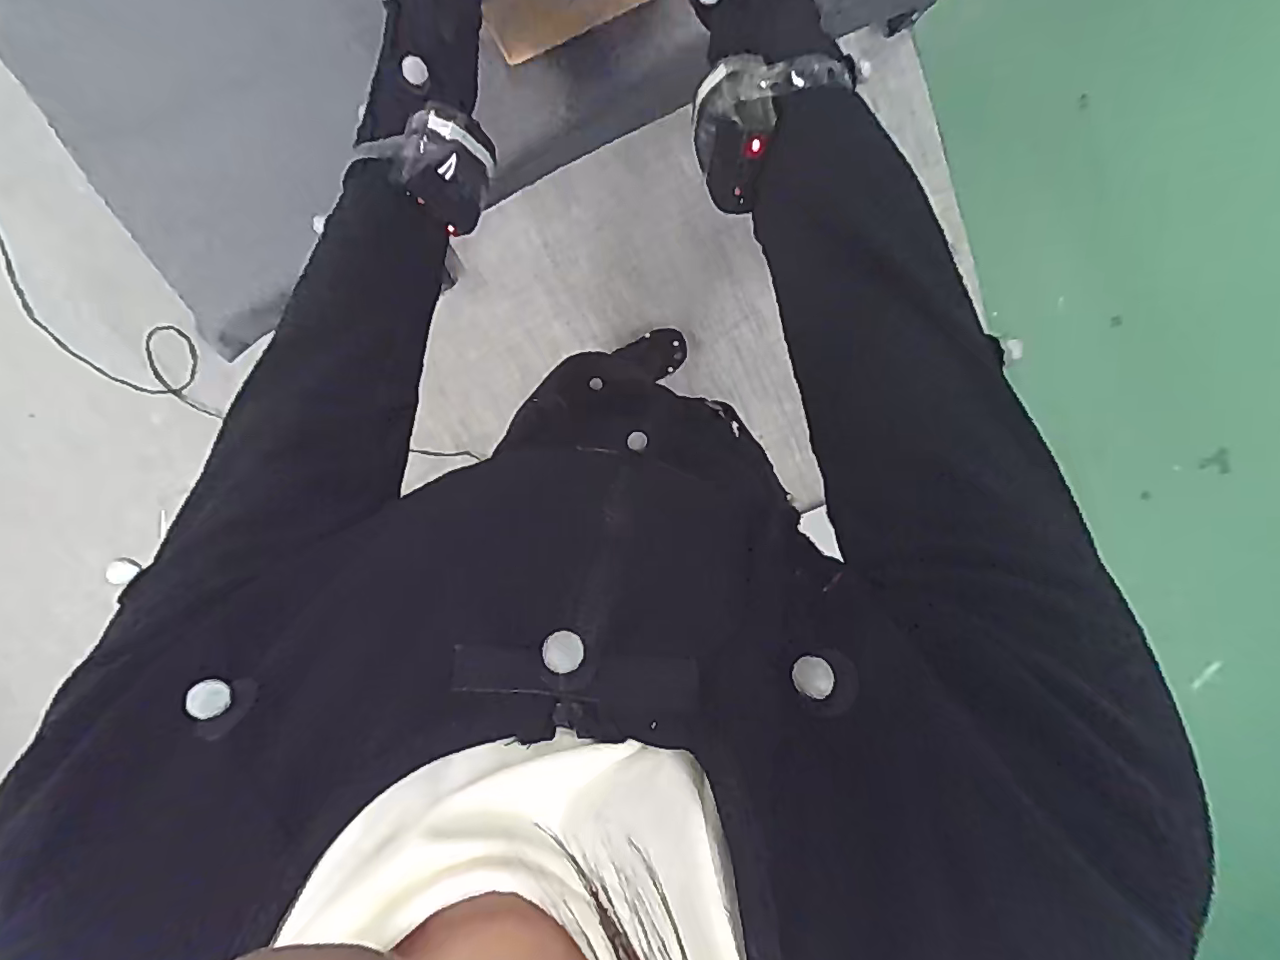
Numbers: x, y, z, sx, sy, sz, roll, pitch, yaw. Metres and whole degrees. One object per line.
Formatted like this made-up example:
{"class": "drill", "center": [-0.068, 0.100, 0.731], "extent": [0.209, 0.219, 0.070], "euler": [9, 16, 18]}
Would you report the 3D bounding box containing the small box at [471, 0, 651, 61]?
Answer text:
{"class": "small box", "center": [-0.080, -0.479, 0.424], "extent": [0.179, 0.176, 0.168], "euler": [-19, 108, 9]}
